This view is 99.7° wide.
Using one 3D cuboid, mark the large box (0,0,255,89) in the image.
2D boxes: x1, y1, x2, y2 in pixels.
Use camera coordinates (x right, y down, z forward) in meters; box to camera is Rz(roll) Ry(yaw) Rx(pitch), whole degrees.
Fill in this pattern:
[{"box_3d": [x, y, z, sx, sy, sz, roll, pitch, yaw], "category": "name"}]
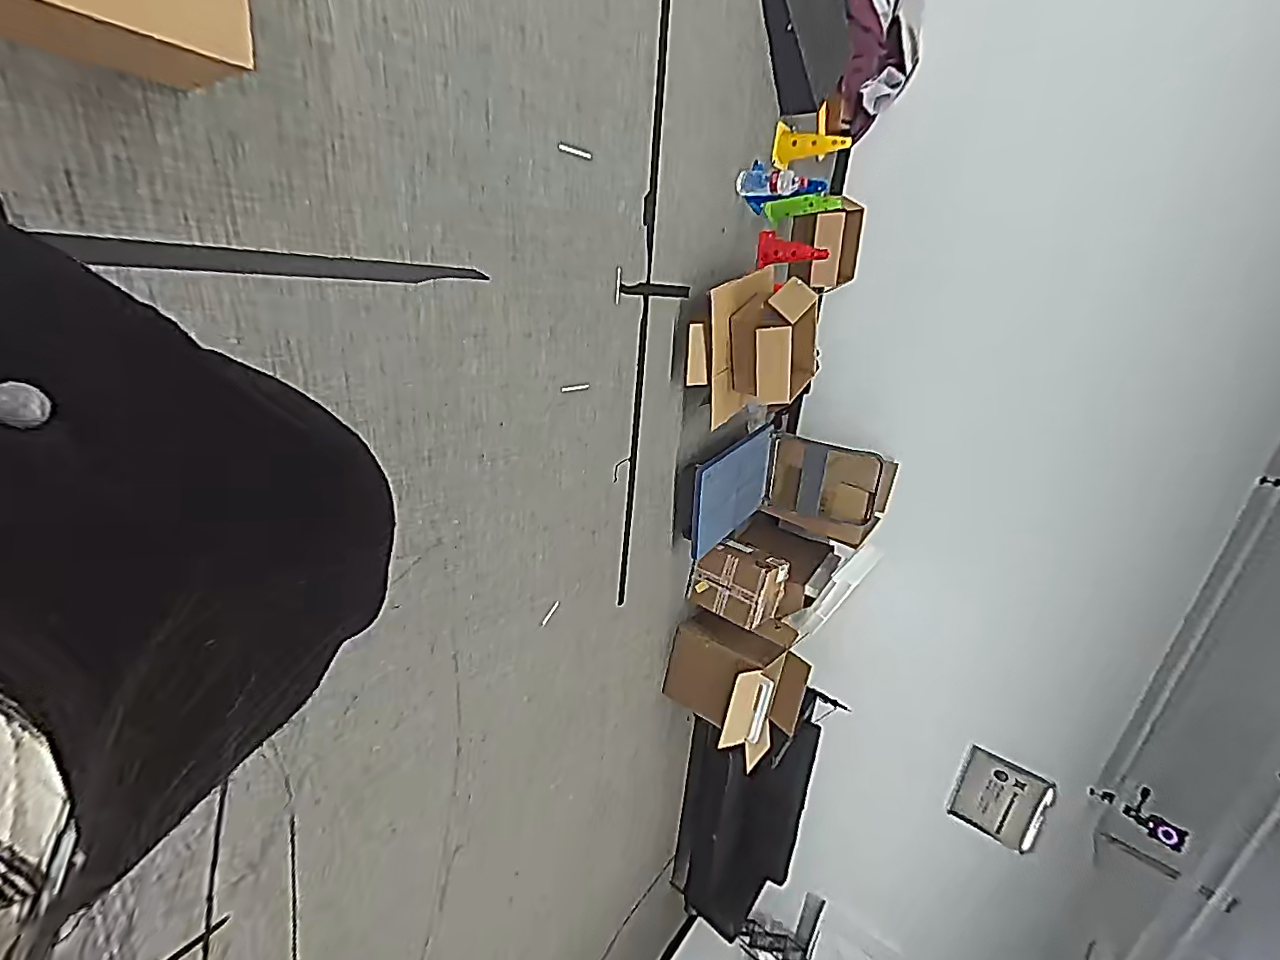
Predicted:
[{"box_3d": [-0.852, -0.811, 0.760, 0.408, 0.320, 0.320, -19, 122, -51], "category": "large box"}]
